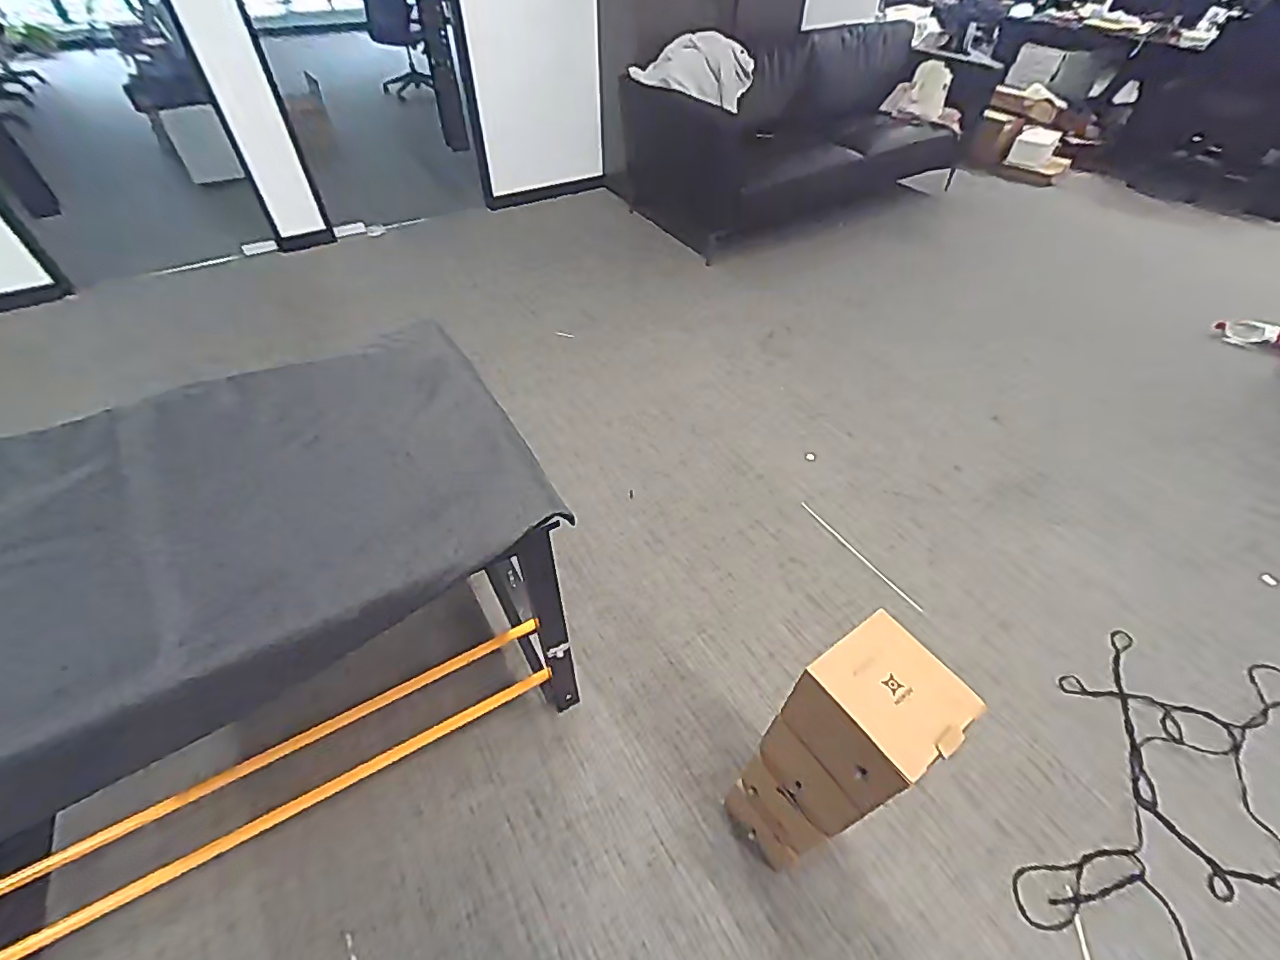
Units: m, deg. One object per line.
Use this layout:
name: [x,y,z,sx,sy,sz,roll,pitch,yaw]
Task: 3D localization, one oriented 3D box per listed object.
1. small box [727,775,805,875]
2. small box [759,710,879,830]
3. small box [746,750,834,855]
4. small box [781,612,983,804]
small box: [0.302,0.677,1.127,0.179,0.176,0.168,-29,53,-25]
small box: [0.325,0.445,0.896,0.168,0.176,0.179,-27,54,-25]
small box: [0.317,0.559,1.013,0.179,0.176,0.168,-27,53,-26]
small box: [0.333,0.332,0.778,0.168,0.176,0.179,-26,52,-25]
